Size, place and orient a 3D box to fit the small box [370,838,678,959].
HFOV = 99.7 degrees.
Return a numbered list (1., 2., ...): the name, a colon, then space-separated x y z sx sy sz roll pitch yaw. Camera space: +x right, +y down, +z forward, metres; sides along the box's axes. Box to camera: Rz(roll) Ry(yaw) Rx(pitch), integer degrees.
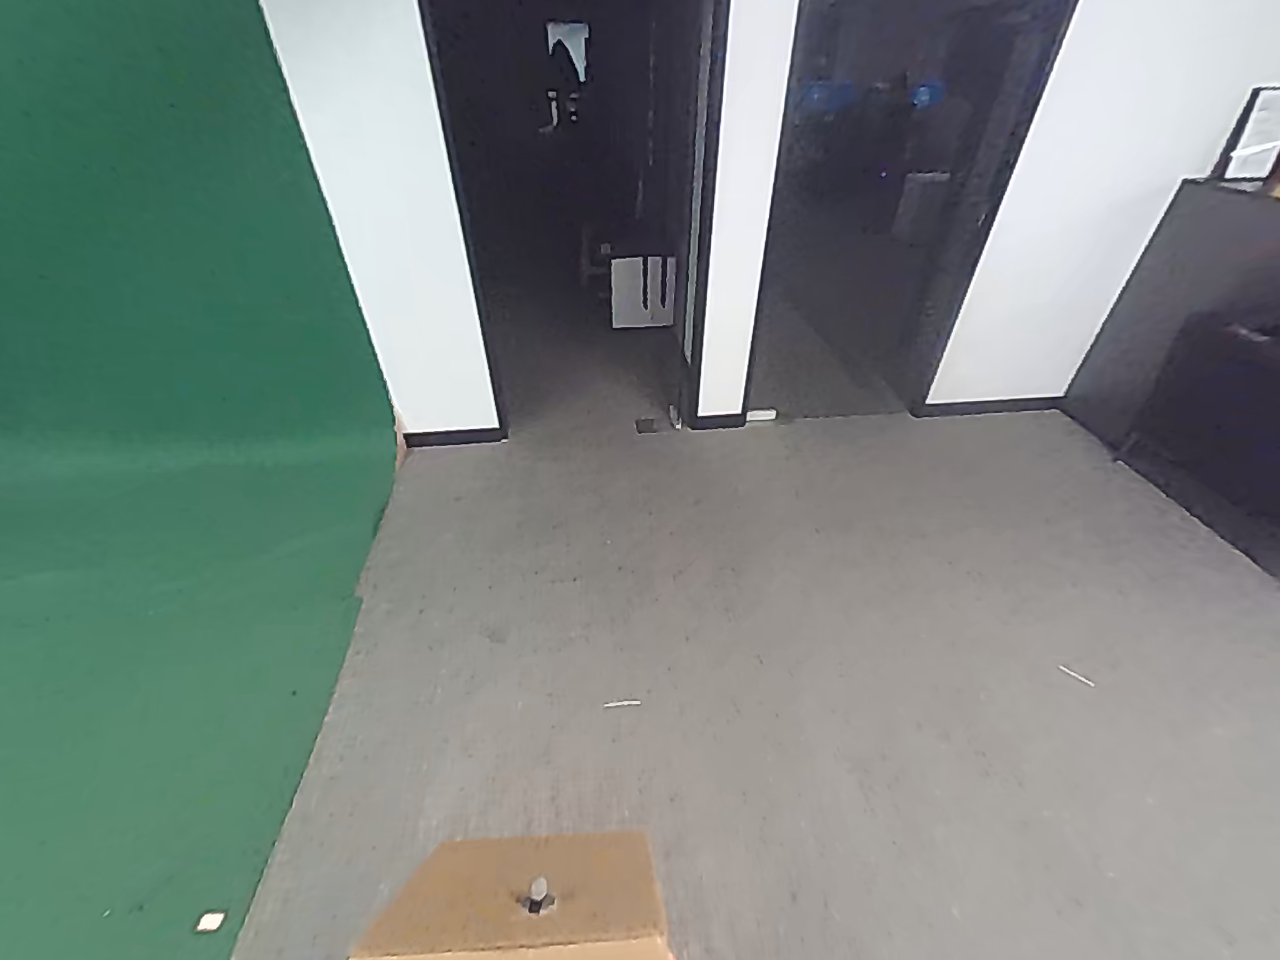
1. small box: -0.069 0.358 0.355 0.179 0.176 0.168 -1 74 -3
